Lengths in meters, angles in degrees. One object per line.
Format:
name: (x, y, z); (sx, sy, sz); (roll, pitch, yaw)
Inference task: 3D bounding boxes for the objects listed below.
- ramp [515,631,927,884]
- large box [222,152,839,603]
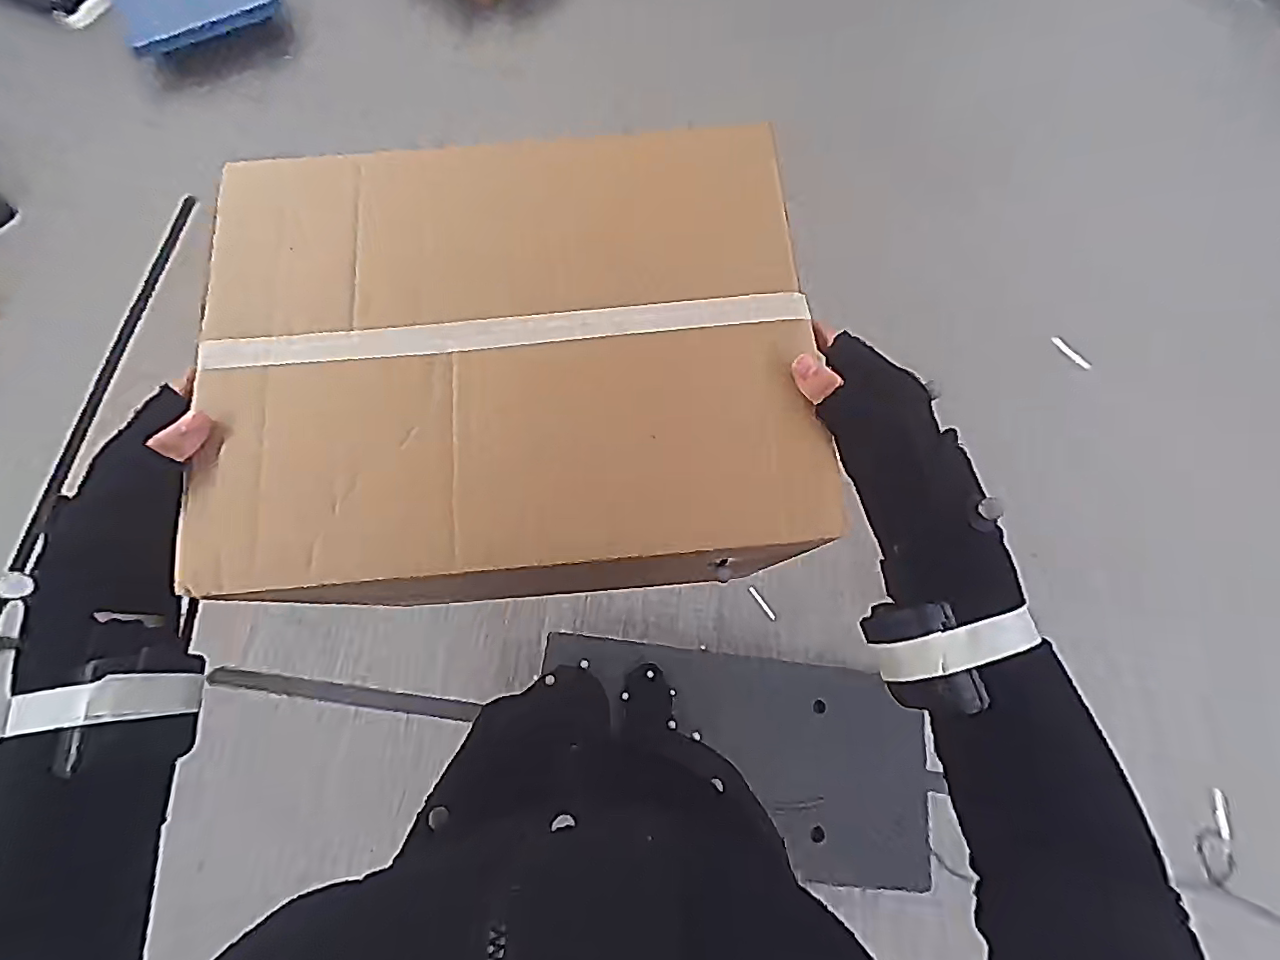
ramp: (0.234, 0.676, 1.329); (0.991, 0.206, 0.509); (4, 71, 2)
large box: (-0.079, -0.054, 0.523); (0.408, 0.320, 0.320); (-4, 75, -1)
